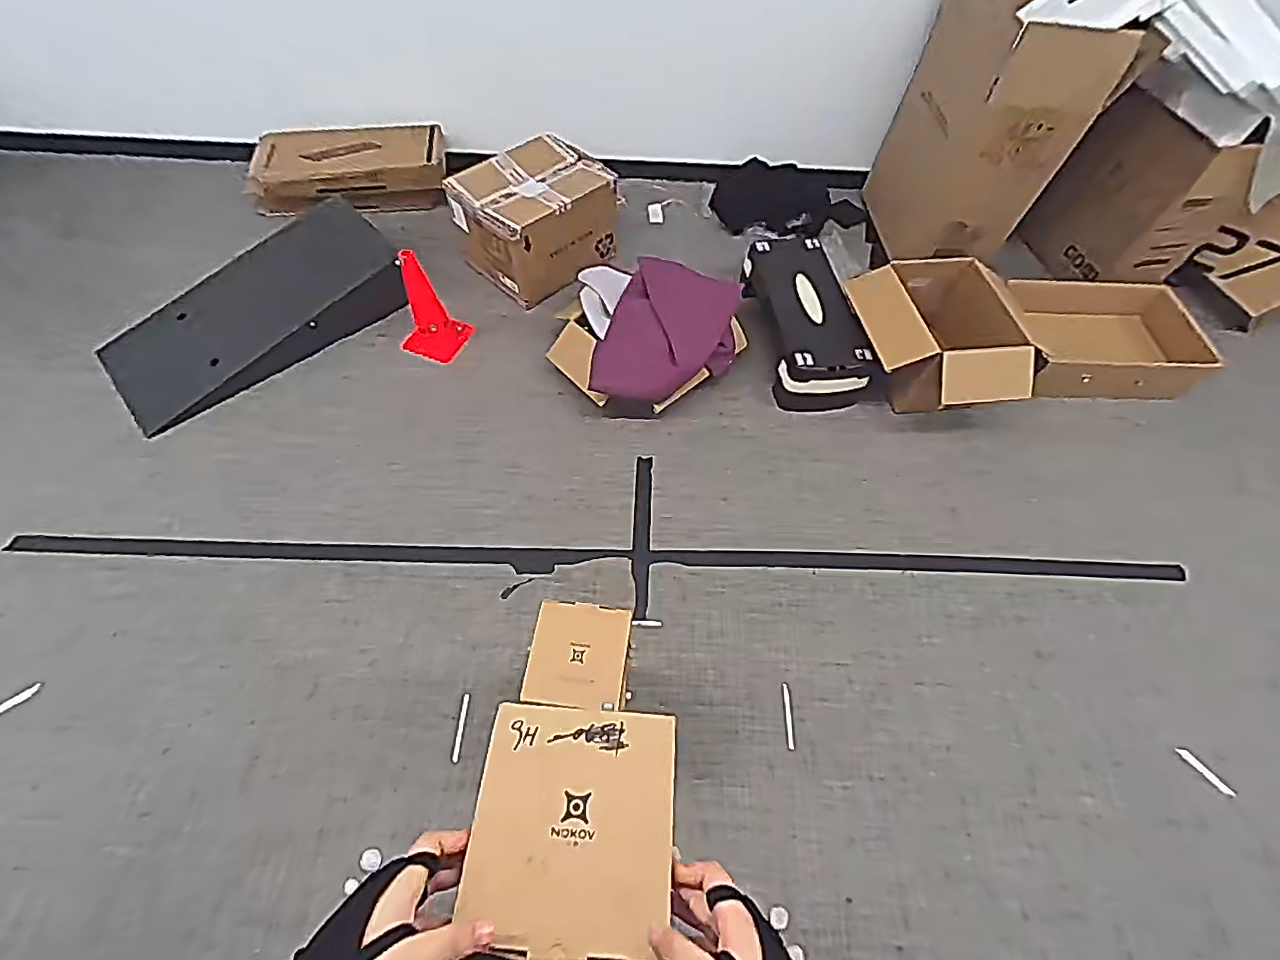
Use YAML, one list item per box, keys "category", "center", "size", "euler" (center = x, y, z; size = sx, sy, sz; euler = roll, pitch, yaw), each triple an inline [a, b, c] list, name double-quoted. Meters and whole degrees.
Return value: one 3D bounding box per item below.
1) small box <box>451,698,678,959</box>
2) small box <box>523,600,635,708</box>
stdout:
- category: "small box"
  center: [-0.053, 0.321, 0.506]
  size: [0.168, 0.176, 0.179]
  euler: [4, 54, 2]
- category: "small box"
  center: [-0.103, 0.338, 0.985]
  size: [0.168, 0.176, 0.179]
  euler: [7, 60, 2]
